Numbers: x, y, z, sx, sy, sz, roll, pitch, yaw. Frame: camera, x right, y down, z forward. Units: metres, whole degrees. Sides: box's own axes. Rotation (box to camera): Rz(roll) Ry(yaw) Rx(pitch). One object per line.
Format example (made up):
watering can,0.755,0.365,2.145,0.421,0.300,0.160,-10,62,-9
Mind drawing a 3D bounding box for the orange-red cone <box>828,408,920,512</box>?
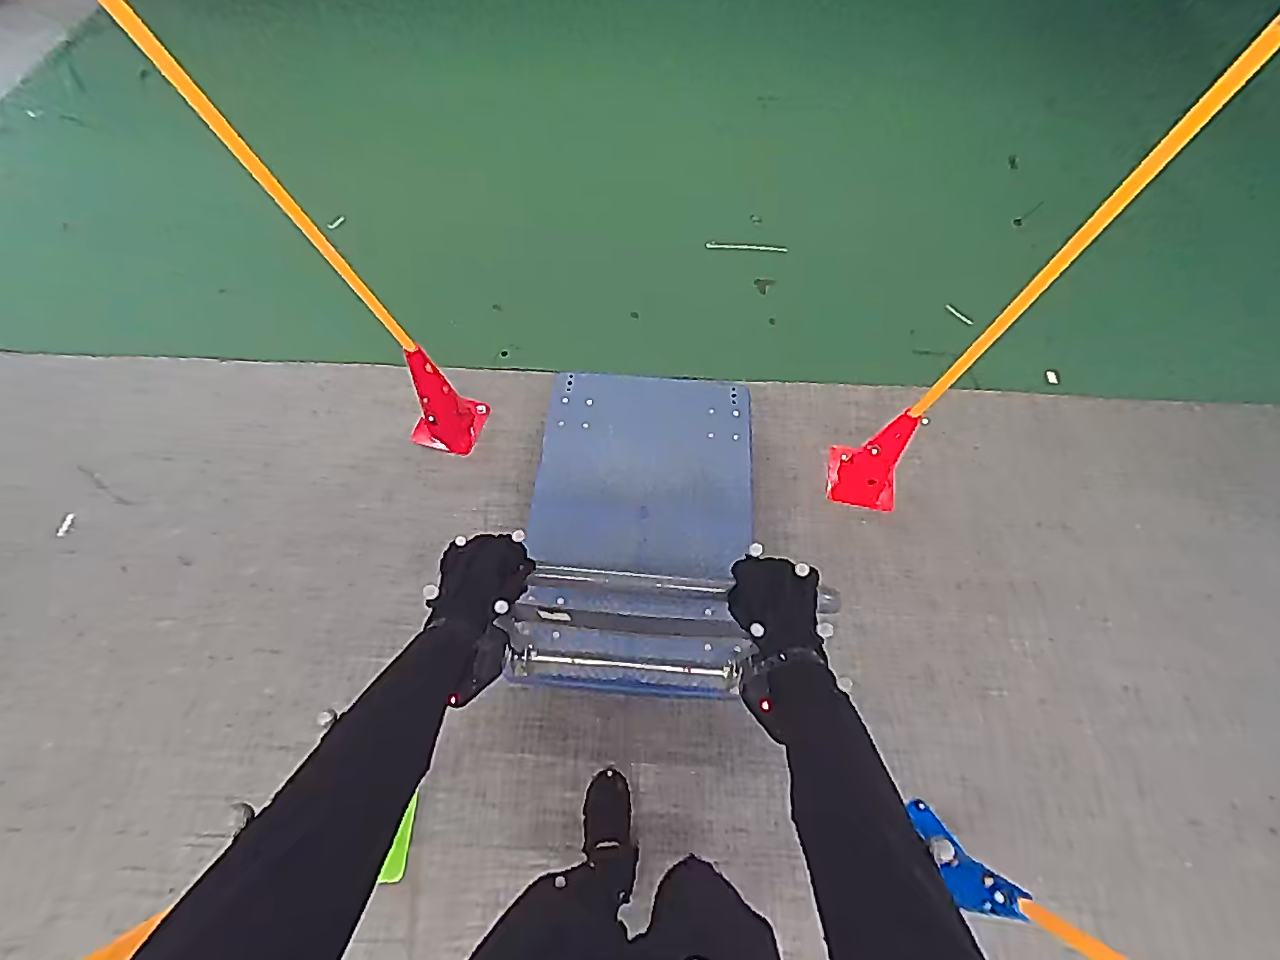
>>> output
orange-red cone,0.679,-0.081,1.495,0.198,0.360,0.199,12,64,6
